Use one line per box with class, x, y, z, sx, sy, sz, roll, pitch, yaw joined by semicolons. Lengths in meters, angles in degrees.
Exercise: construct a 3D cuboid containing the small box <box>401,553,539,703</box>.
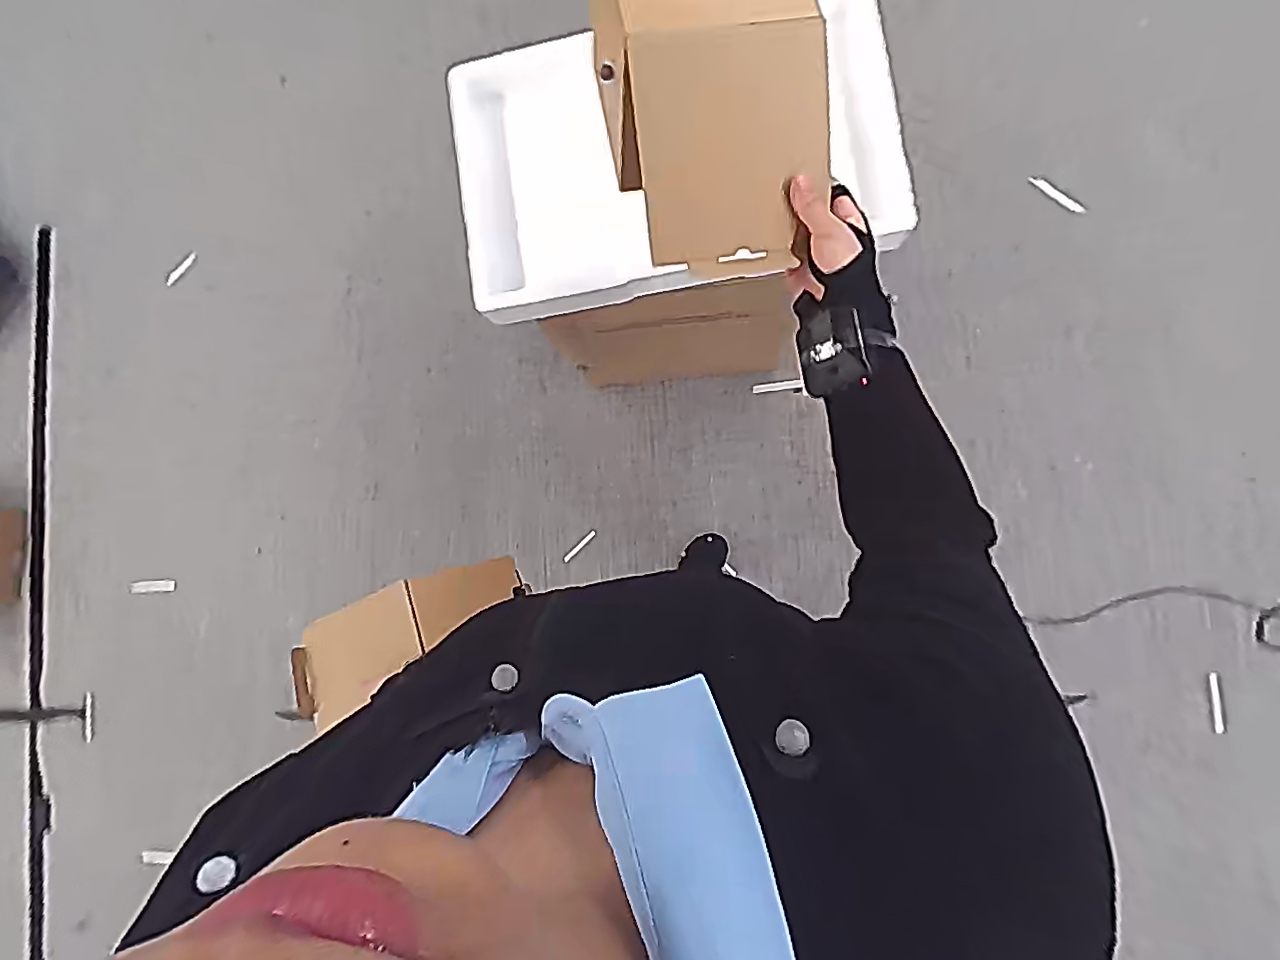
small box;-0.289;0.246;0.893;0.179;0.176;0.168;-9;60;-32
